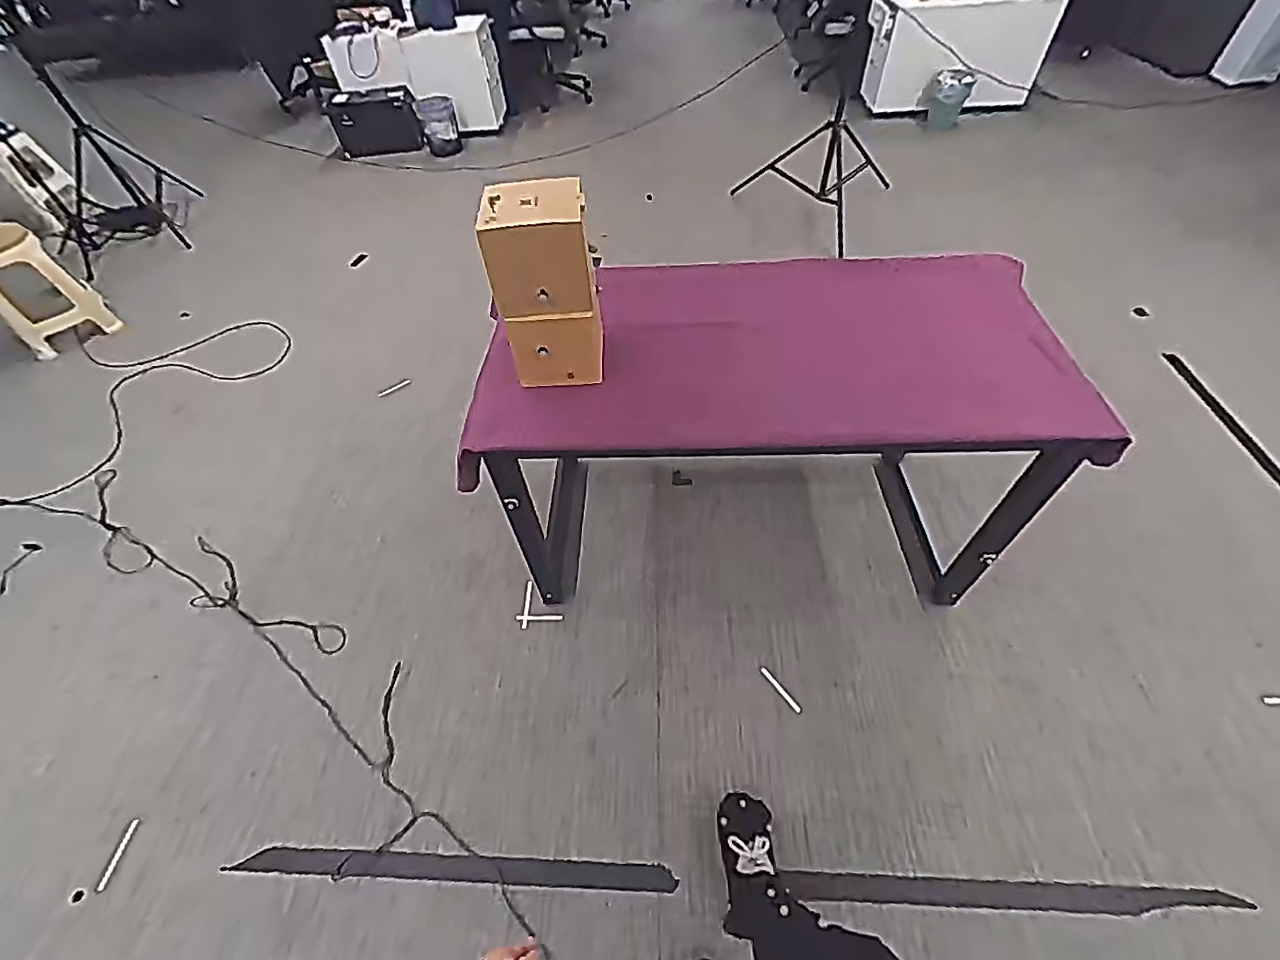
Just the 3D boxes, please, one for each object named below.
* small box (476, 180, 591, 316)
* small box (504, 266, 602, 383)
[{"bbox_3d":[-0.180,-0.418,0.980,0.179,0.176,0.168,-4,51,-1],"label":"small box"},{"bbox_3d":[-0.167,-0.311,1.104,0.168,0.176,0.179,-4,51,1],"label":"small box"}]
